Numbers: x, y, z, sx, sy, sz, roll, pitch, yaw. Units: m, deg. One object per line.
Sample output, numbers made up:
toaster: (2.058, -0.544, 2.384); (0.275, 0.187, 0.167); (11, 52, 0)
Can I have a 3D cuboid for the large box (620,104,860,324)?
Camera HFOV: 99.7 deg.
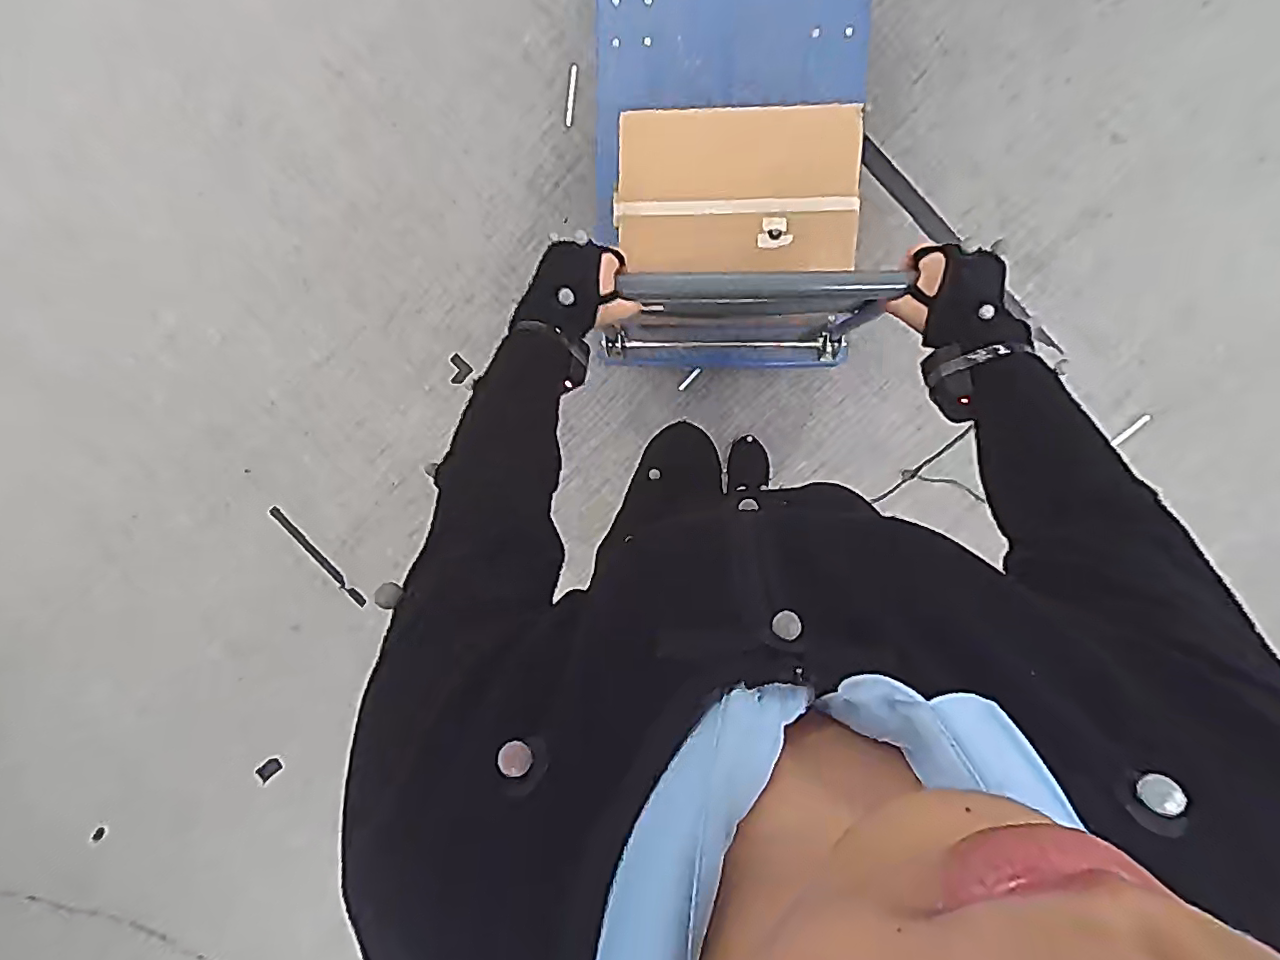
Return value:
large box: (0.174, -0.492, 1.072); (0.408, 0.320, 0.320); (1, 99, 4)
